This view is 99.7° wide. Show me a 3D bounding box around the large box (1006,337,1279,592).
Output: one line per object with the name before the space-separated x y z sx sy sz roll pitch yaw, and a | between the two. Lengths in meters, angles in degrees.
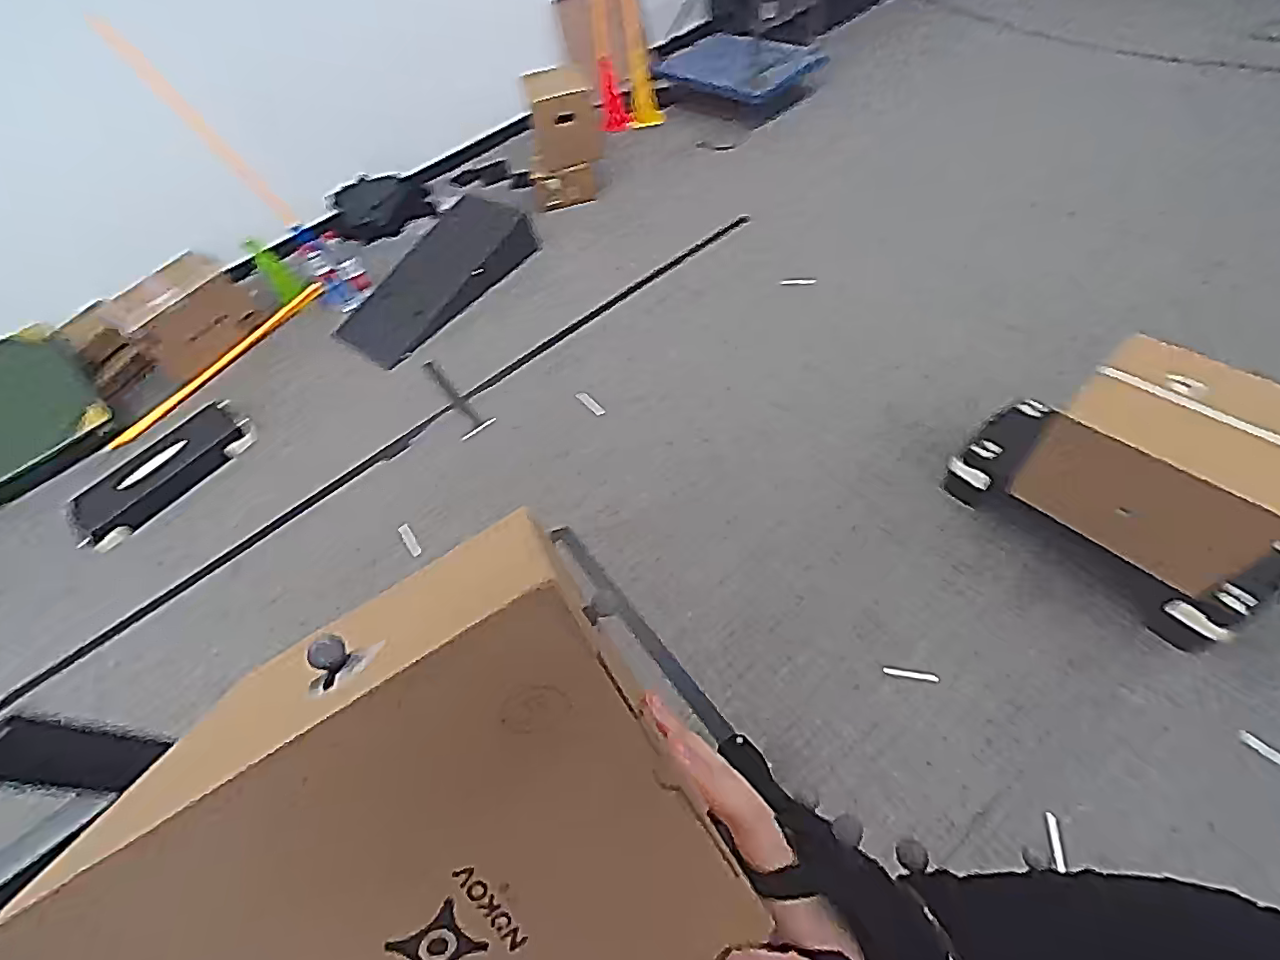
large box | 1.124 -0.036 1.174 0.320 0.320 0.408 -39 56 -16
